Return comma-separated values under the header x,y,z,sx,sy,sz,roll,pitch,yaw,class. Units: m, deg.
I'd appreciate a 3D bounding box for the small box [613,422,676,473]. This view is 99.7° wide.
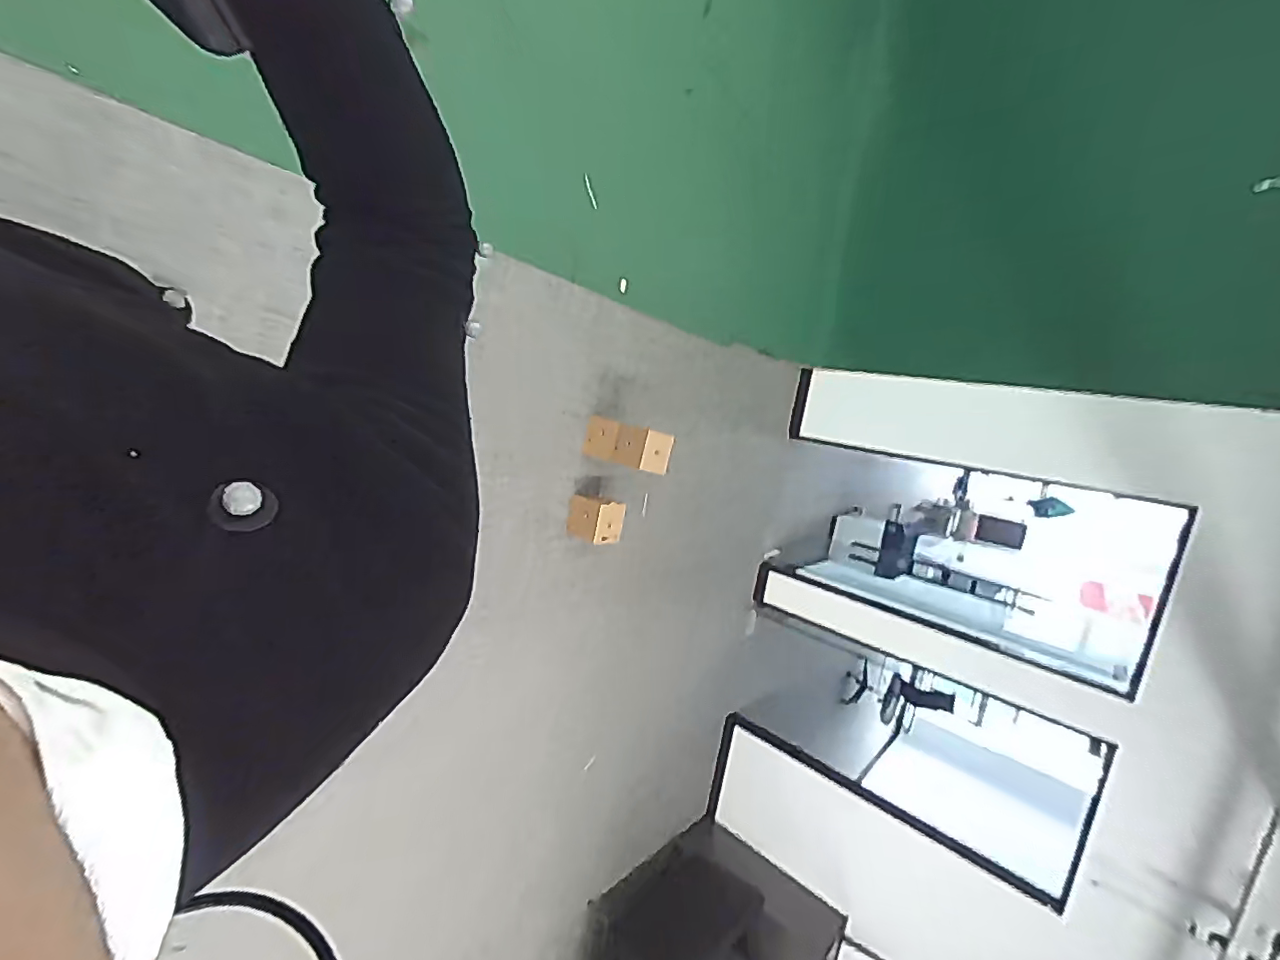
x,y,z,sx,sy,sz,roll,pitch,yaw,class
0.016,-0.135,2.204,0.179,0.176,0.168,10,95,-52,small box

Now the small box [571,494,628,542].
x,y,z,sx,sy,sz,roll,pitch,yaw,class
-0.177,0.159,2.339,0.168,0.176,0.179,3,100,-50,small box

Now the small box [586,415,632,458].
x,y,z,sx,sy,sz,roll,pitch,yaw,class
-0.106,-0.176,2.308,0.179,0.176,0.168,7,97,-51,small box
